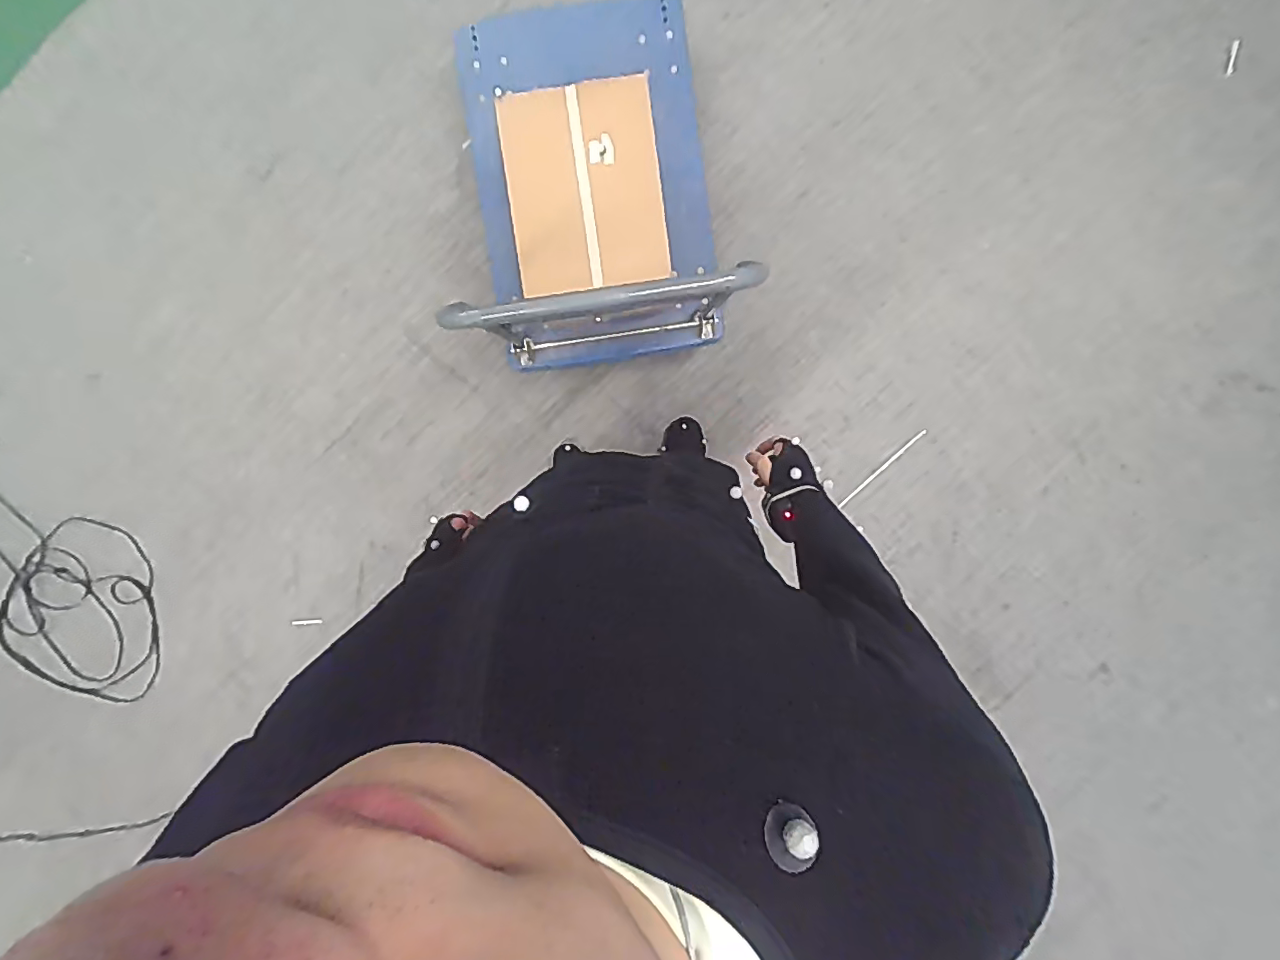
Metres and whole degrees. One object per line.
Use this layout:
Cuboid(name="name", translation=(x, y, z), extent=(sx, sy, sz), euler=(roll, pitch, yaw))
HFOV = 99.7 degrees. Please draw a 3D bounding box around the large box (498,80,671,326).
Cuboid(name="large box", translation=(-0.110, -0.611, 1.267), extent=(0.320, 0.320, 0.408), euler=(-7, 94, 1))
